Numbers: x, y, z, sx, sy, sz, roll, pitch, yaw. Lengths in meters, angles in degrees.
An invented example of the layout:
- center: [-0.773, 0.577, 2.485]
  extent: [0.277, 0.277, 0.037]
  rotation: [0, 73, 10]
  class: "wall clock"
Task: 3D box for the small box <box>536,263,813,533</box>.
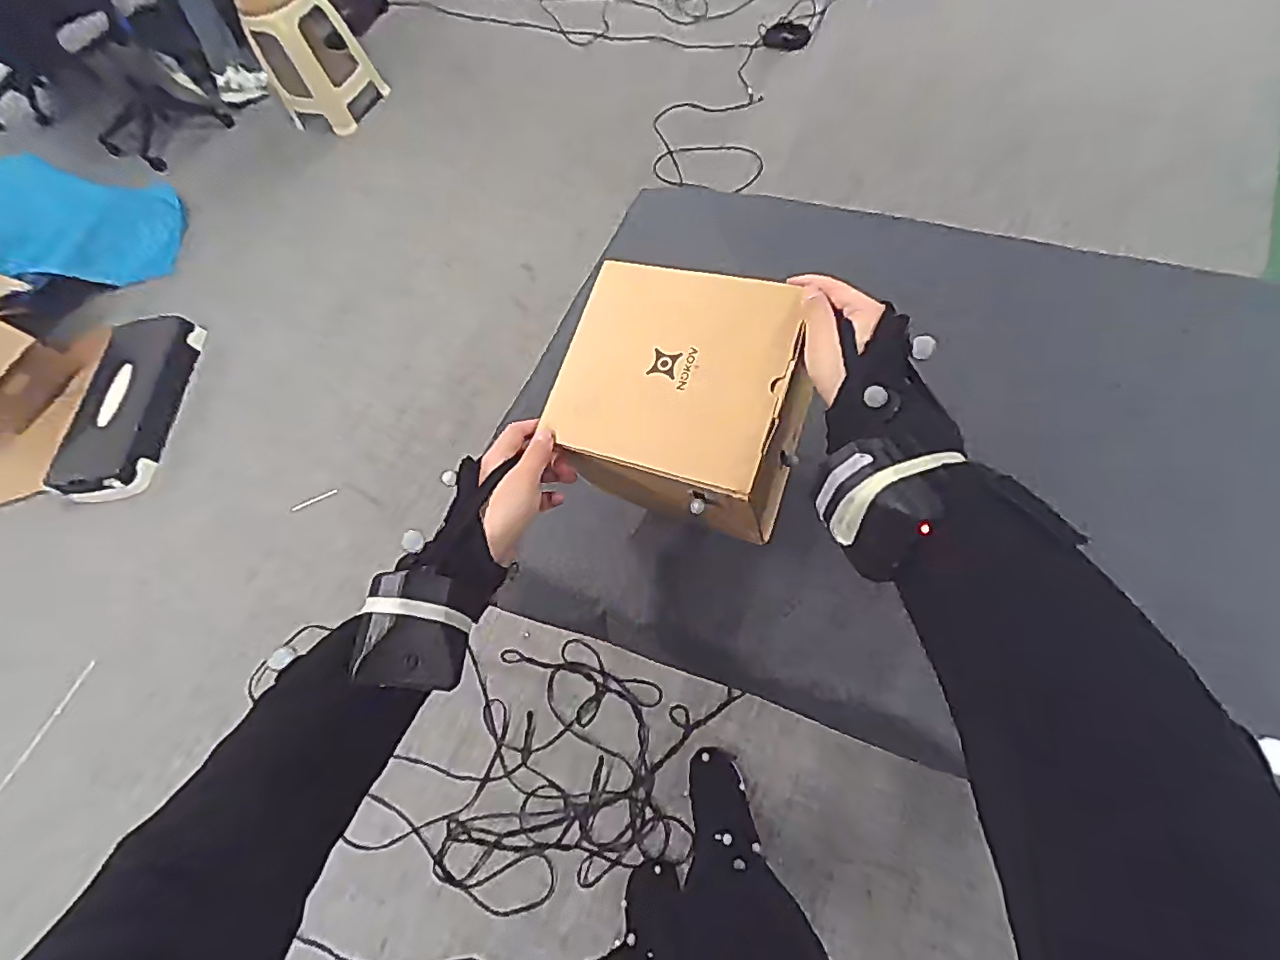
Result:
- center: [0.042, -0.063, 0.481]
  extent: [0.179, 0.176, 0.168]
  rotation: [15, 77, 19]
  class: "small box"
